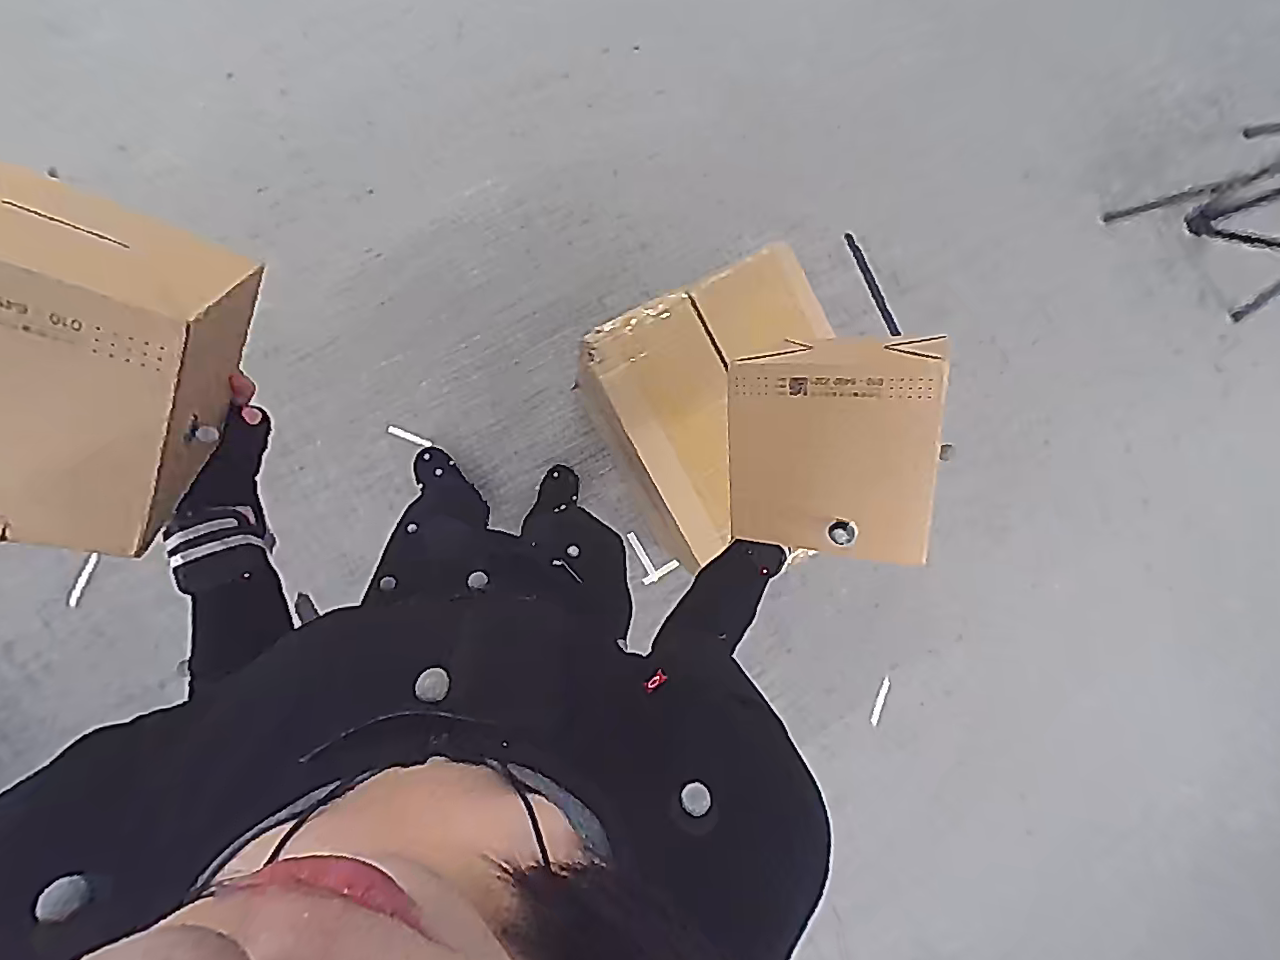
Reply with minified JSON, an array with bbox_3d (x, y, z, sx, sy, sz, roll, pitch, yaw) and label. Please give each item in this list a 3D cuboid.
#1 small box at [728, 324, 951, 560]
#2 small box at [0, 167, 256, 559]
[{"bbox_3d":[0.188,-0.050,0.506,0.168,0.179,0.176,6,113,29],"label":"small box"},{"bbox_3d":[-0.371,-0.080,0.339,0.168,0.179,0.176,18,113,-29],"label":"small box"}]
